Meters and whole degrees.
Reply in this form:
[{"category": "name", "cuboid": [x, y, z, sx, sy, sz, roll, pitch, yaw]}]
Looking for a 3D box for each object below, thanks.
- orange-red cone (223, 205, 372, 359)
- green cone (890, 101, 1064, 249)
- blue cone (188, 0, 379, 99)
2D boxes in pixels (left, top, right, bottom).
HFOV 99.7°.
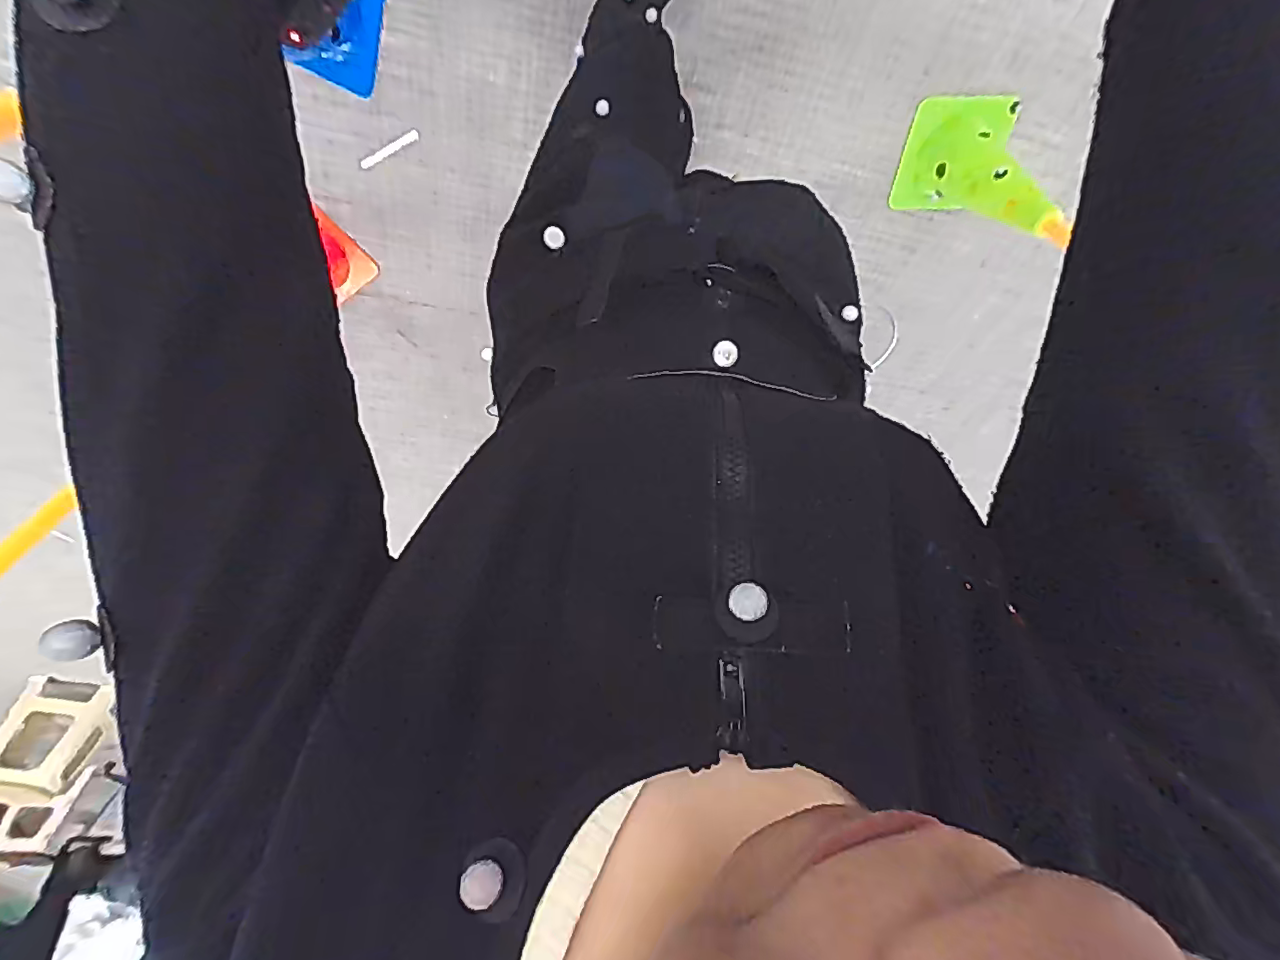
[{"category": "orange-red cone", "cuboid": [-0.710, -0.349, 1.056, 0.199, 0.360, 0.198, -26, 131, 19]}, {"category": "green cone", "cuboid": [0.625, -0.510, 0.956, 0.200, 0.368, 0.202, -2, 136, -1]}, {"category": "blue cone", "cuboid": [-0.535, -0.652, 0.782, 0.193, 0.380, 0.192, 19, 132, -21]}]
